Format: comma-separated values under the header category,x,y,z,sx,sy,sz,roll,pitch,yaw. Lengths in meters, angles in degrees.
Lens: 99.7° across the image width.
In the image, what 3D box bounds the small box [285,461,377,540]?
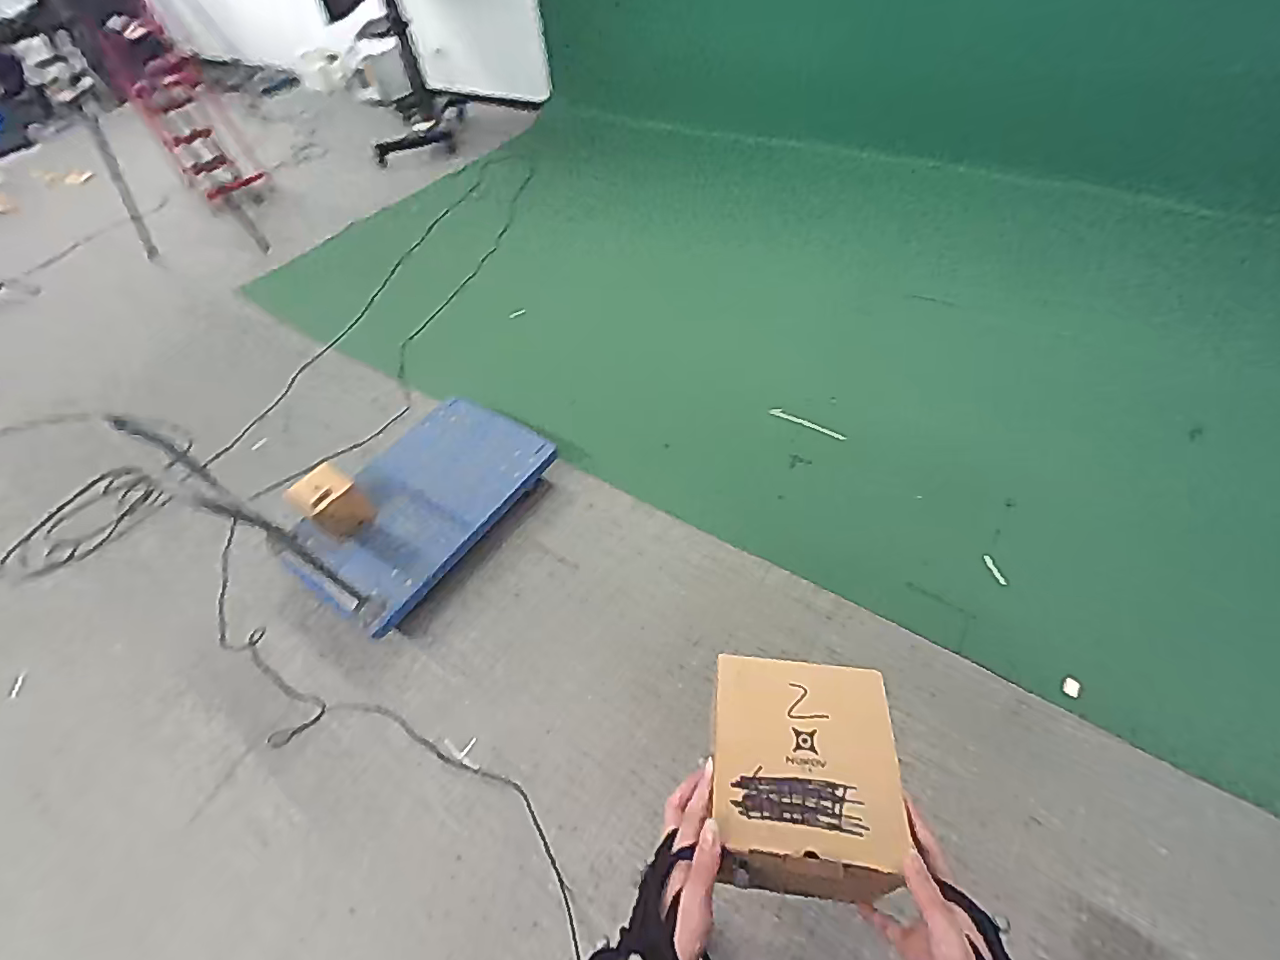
category,x,y,z,sx,sy,sz,roll,pitch,yaw
small box,-1.015,0.074,1.789,0.179,0.176,0.168,28,59,26
